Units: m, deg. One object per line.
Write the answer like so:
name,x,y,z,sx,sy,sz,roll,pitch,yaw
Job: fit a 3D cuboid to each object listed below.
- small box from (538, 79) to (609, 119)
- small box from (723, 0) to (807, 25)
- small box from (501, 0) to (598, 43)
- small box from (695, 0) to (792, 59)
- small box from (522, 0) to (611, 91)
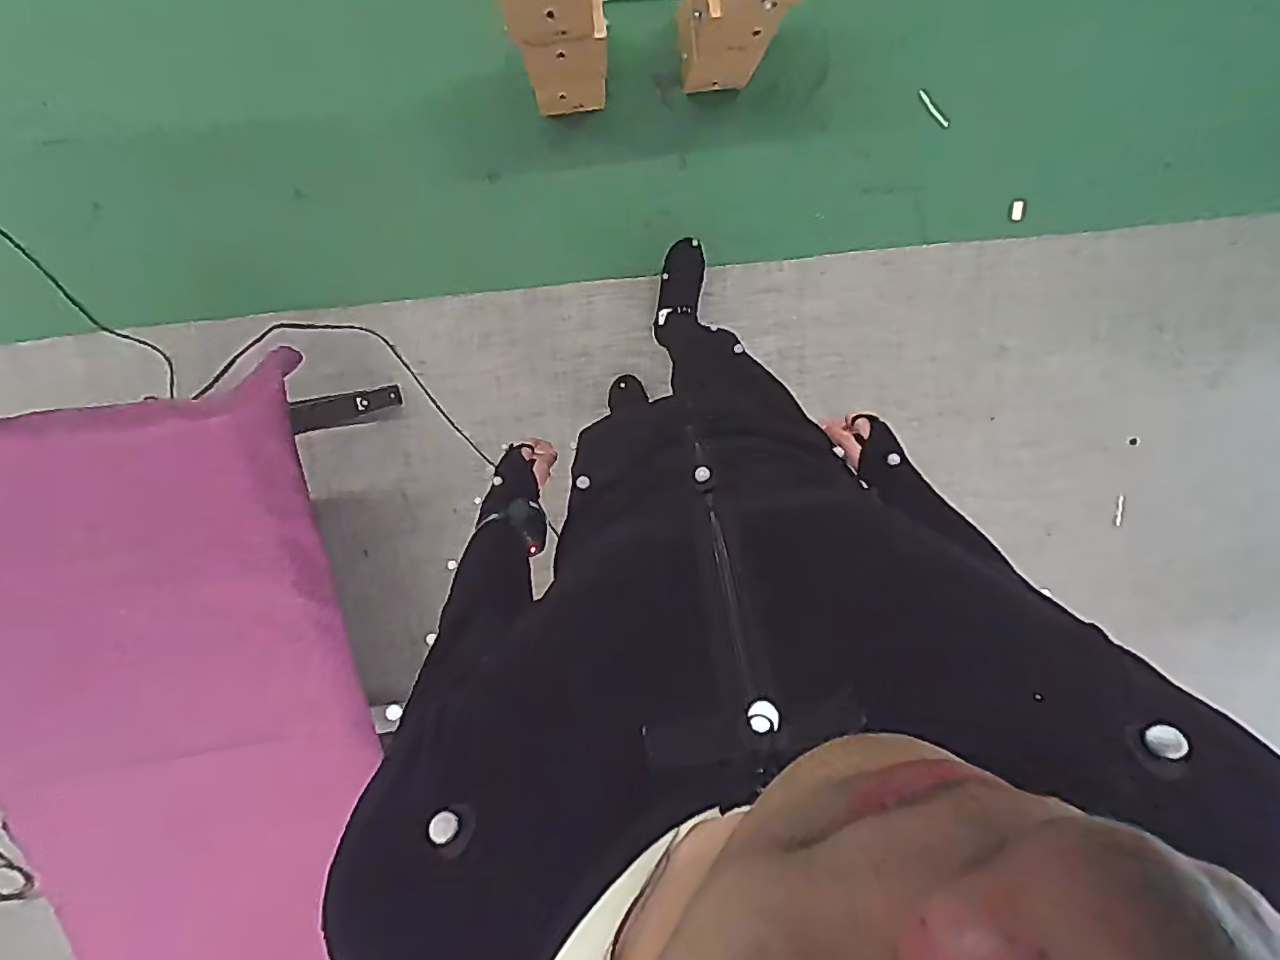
small box,-0.165,-0.996,1.297,0.168,0.176,0.179,-8,103,-1
small box,0.240,-0.991,0.988,0.168,0.176,0.179,-14,106,-1
small box,-0.169,-0.928,0.975,0.168,0.176,0.179,-7,104,-1
small box,0.213,-1.028,1.145,0.168,0.176,0.179,-8,104,-3
small box,-0.158,-0.954,1.138,0.179,0.176,0.168,-8,103,-2
